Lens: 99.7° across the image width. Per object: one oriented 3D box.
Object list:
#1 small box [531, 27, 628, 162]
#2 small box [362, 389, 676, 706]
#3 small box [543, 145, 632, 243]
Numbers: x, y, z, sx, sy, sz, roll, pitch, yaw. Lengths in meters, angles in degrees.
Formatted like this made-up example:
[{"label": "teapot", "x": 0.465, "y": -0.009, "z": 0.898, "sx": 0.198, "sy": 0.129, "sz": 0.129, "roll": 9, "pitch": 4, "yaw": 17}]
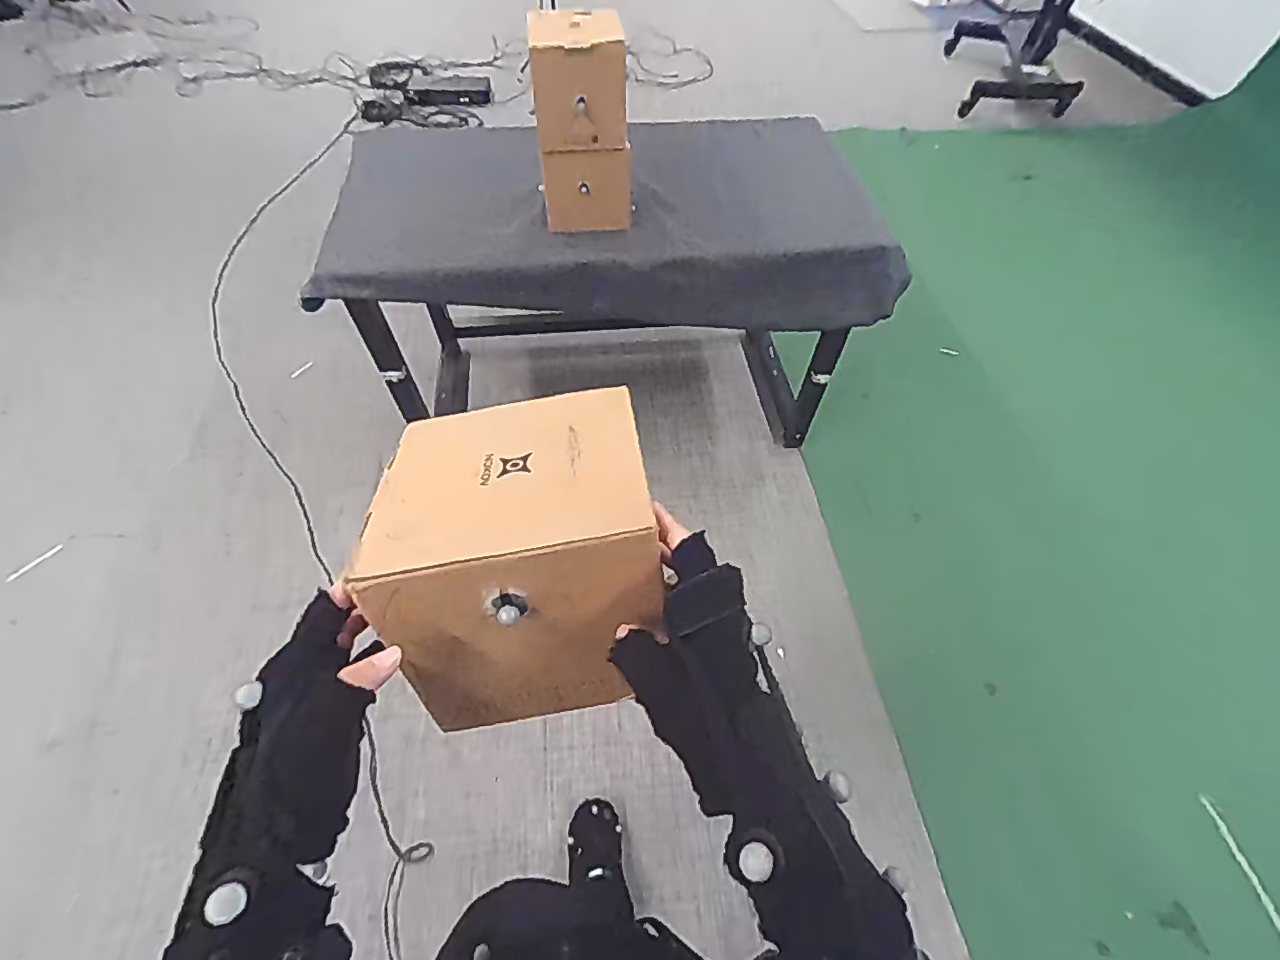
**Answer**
[{"label": "small box", "x": -0.112, "y": -0.727, "z": 1.029, "sx": 0.168, "sy": 0.176, "sz": 0.179, "roll": -5, "pitch": 56, "yaw": -5}, {"label": "small box", "x": -0.074, "y": 0.052, "z": 0.421, "sx": 0.179, "sy": 0.176, "sz": 0.168, "roll": -9, "pitch": 38, "yaw": -2}, {"label": "small box", "x": -0.111, "y": -0.633, "z": 1.162, "sx": 0.179, "sy": 0.176, "sz": 0.168, "roll": -5, "pitch": 55, "yaw": -4}]
